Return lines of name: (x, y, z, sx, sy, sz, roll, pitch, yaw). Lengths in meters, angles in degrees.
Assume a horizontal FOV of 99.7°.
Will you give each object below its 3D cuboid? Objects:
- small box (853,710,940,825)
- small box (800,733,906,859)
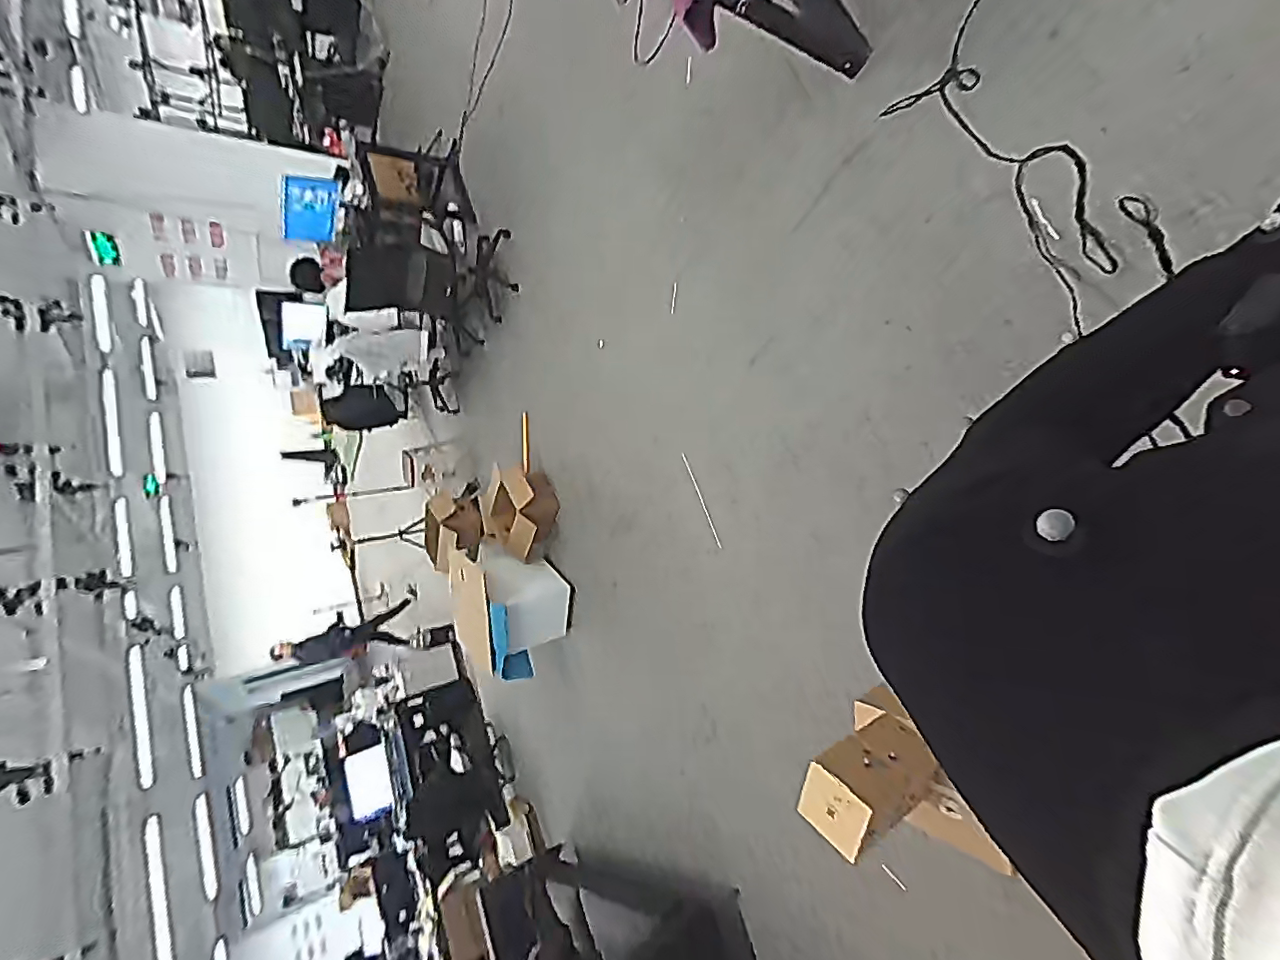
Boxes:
small box: (0.662, 0.754, 1.435, 0.168, 0.176, 0.179, 30, 120, 46)
small box: (0.528, 0.773, 1.339, 0.168, 0.176, 0.179, 29, 118, 47)
